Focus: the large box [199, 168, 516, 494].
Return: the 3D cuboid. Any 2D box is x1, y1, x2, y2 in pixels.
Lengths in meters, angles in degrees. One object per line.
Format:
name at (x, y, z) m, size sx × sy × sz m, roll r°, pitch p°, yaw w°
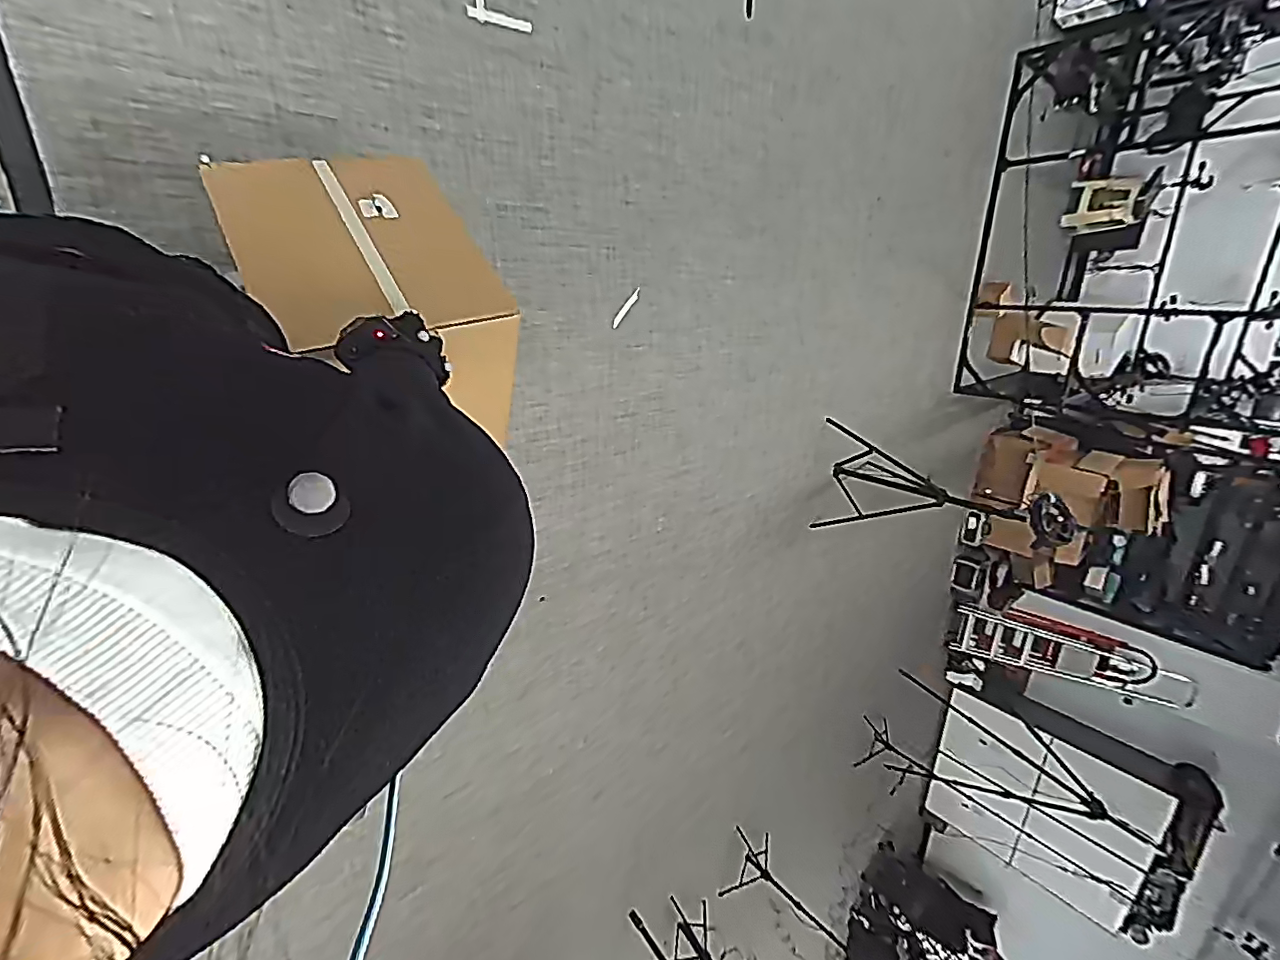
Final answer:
large box at (-0.445, -0.253, 0.900) m, size 0.320 × 0.408 × 0.320 m, roll -22°, pitch 154°, yaw -31°
